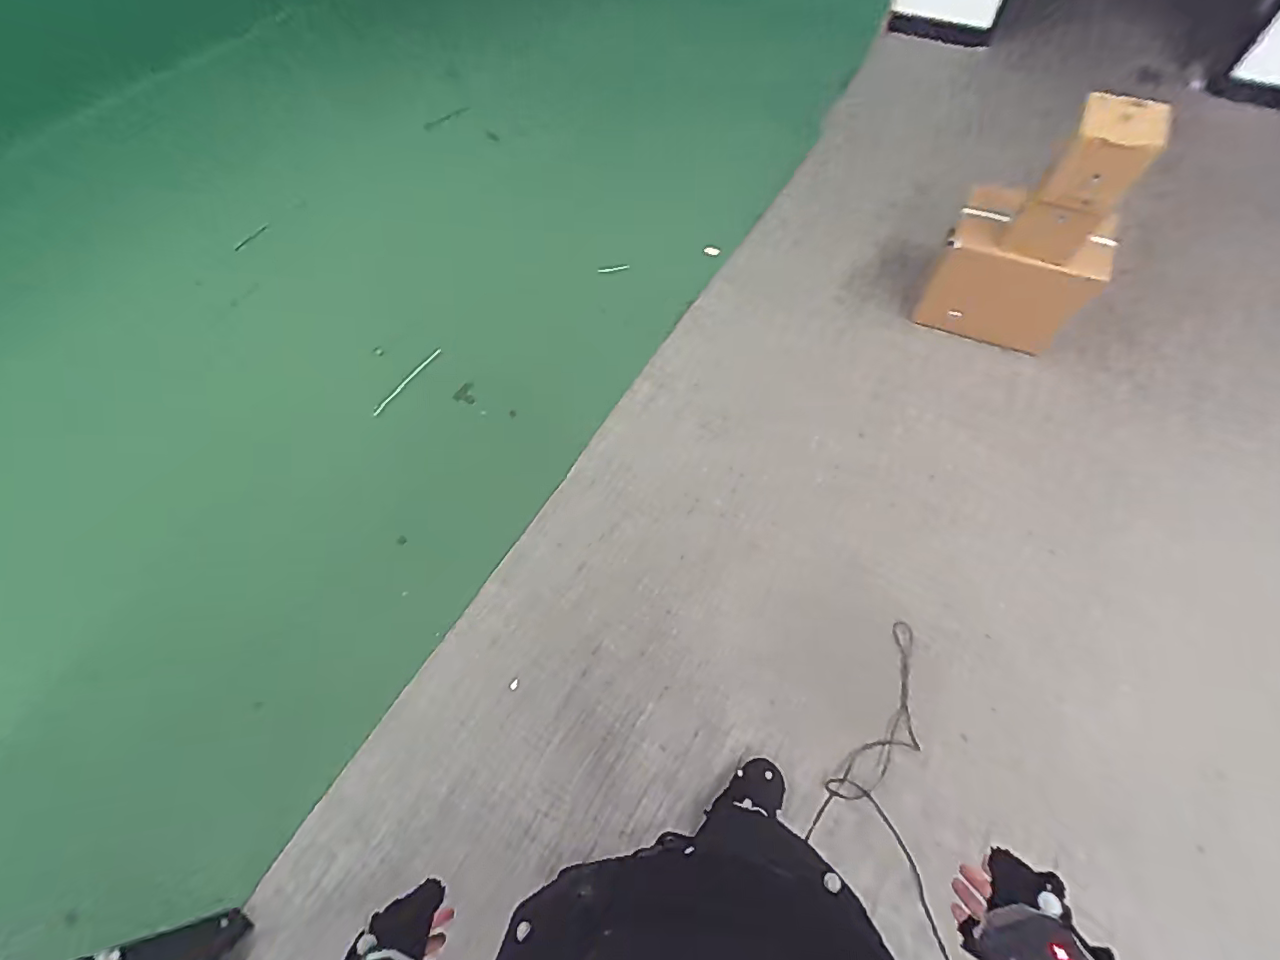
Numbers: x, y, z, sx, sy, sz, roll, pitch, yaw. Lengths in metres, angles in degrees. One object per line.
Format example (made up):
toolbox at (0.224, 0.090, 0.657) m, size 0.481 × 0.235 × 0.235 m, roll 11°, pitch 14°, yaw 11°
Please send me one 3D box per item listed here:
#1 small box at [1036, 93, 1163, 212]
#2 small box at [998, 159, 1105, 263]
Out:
small box at (1.098, -0.784, 1.304) m, size 0.168 × 0.176 × 0.179 m, roll 23°, pitch 68°, yaw 14°
small box at (1.107, -0.716, 1.452) m, size 0.179 × 0.176 × 0.168 m, roll 25°, pitch 68°, yaw 14°
